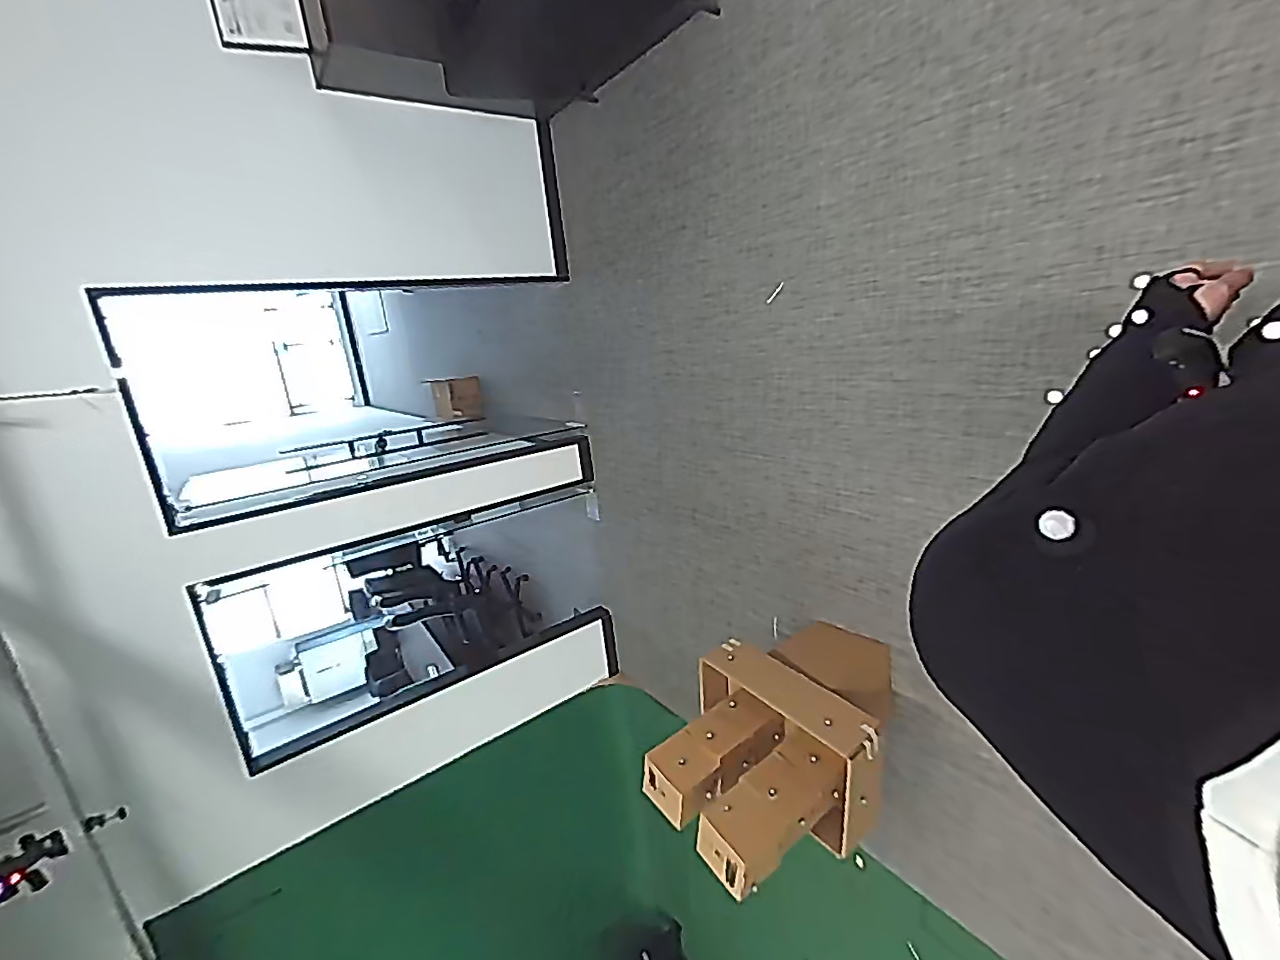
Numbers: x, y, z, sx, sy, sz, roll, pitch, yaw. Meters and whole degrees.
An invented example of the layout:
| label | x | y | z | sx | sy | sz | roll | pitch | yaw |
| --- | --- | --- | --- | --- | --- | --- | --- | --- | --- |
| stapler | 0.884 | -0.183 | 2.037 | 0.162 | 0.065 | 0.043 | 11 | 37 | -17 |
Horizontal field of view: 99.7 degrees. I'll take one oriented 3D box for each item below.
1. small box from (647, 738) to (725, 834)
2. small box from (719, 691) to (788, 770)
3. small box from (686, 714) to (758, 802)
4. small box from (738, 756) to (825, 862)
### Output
| label | x | y | z | sx | sy | sz | roll | pitch | yaw |
| --- | --- | --- | --- | --- | --- | --- | --- | --- | --- |
| small box | 0.143 | 0.954 | 1.710 | 0.179 | 0.176 | 0.168 | 26 | 124 | 44 |
| small box | 0.397 | 0.873 | 1.897 | 0.179 | 0.176 | 0.168 | 16 | 117 | 50 |
| small box | 0.273 | 0.912 | 1.801 | 0.179 | 0.176 | 0.168 | 15 | 115 | 49 |
| small box | 0.422 | 0.971 | 1.611 | 0.179 | 0.176 | 0.168 | 32 | 127 | 46 |
